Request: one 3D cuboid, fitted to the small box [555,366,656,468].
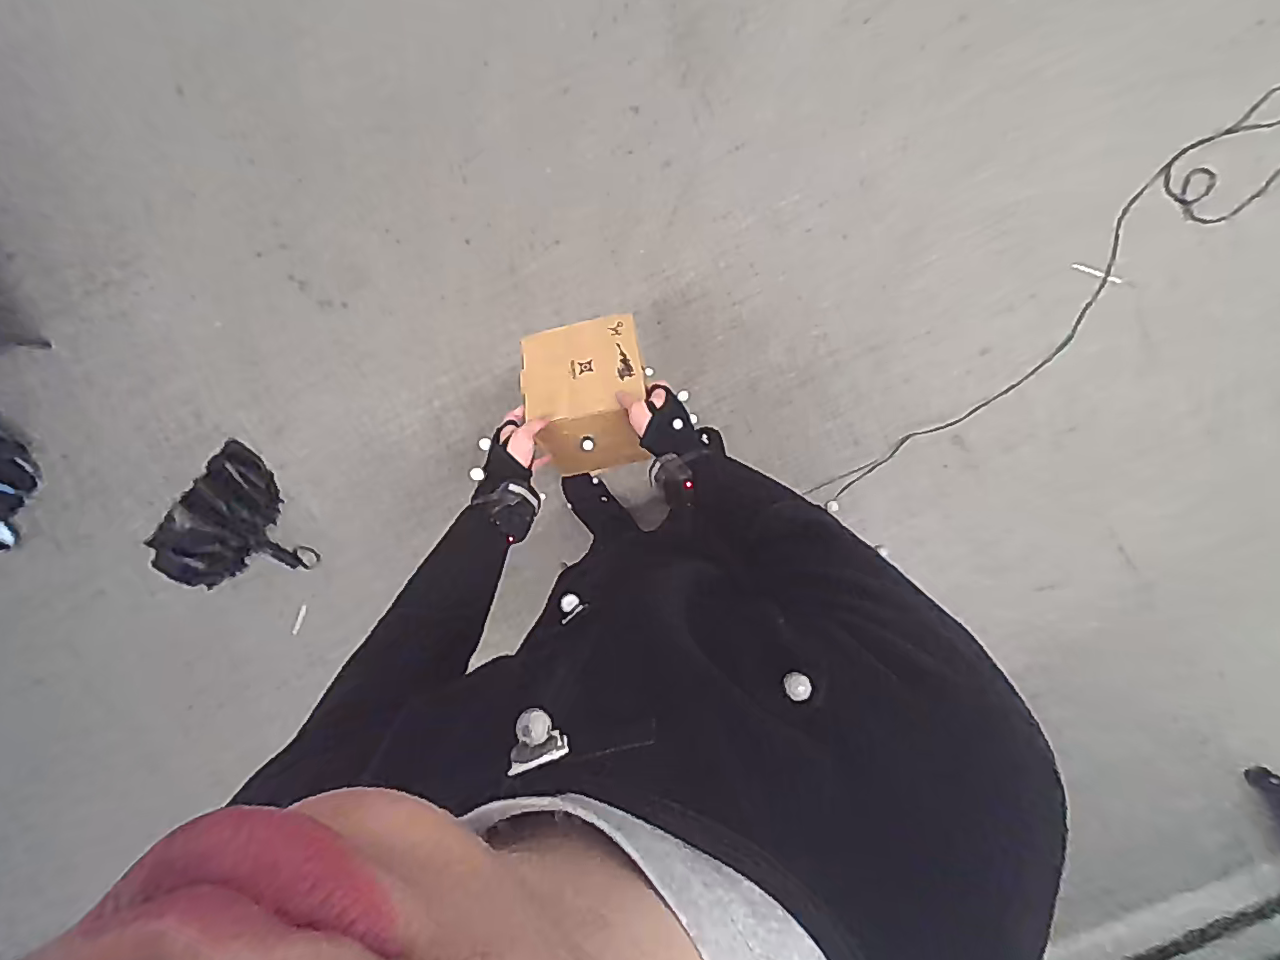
[{"bbox_3d":[-0.076,-0.148,1.266,0.168,0.176,0.179,-29,97,6],"label":"small box"}]
